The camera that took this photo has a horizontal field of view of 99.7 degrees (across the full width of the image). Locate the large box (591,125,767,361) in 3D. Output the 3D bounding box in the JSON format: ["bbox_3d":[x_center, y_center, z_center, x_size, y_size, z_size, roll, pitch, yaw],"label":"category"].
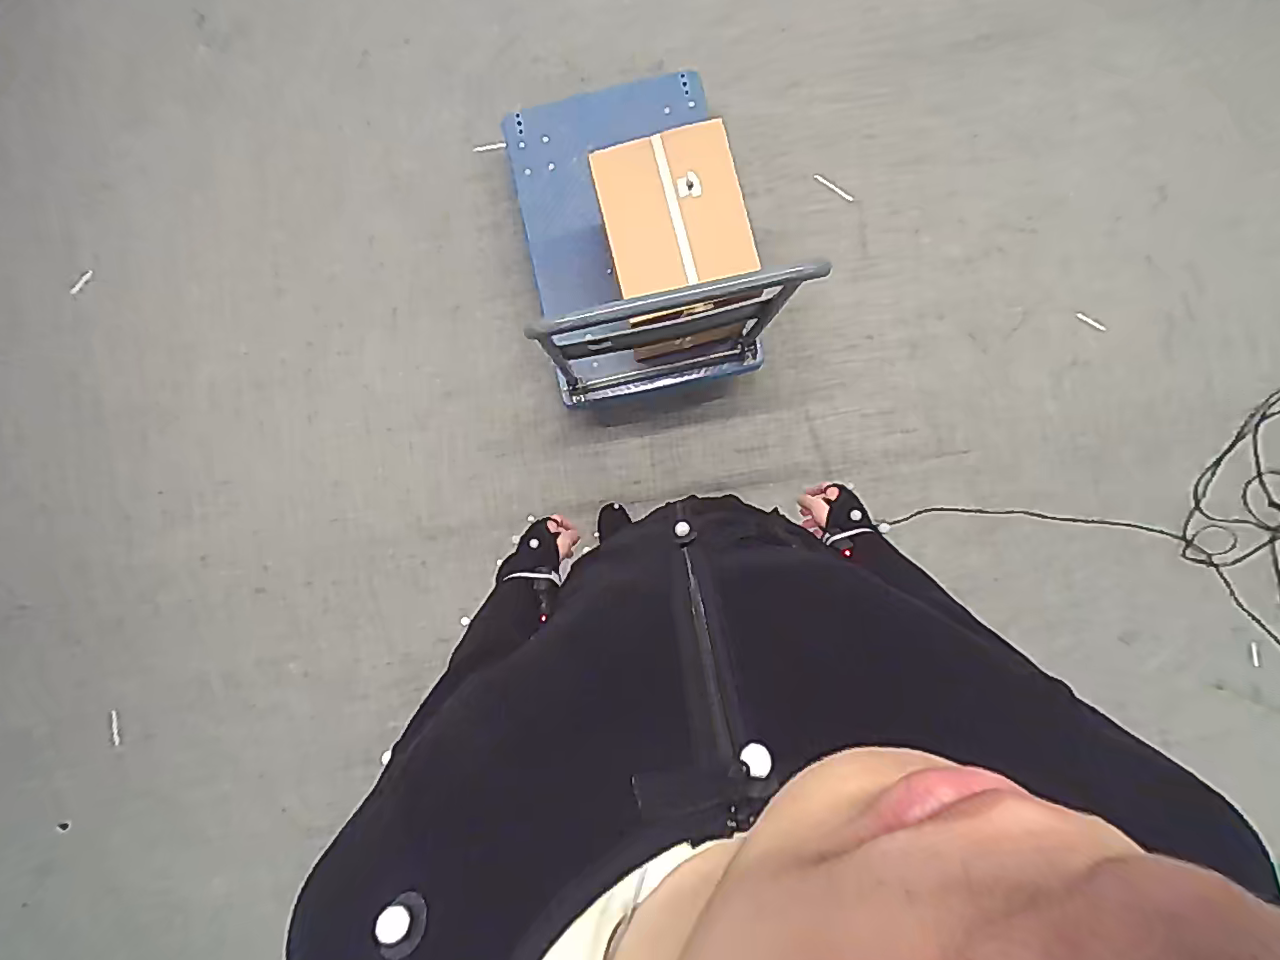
[{"bbox_3d":[0.092,-0.563,1.355,0.320,0.320,0.408,-14,86,0],"label":"large box"}]
